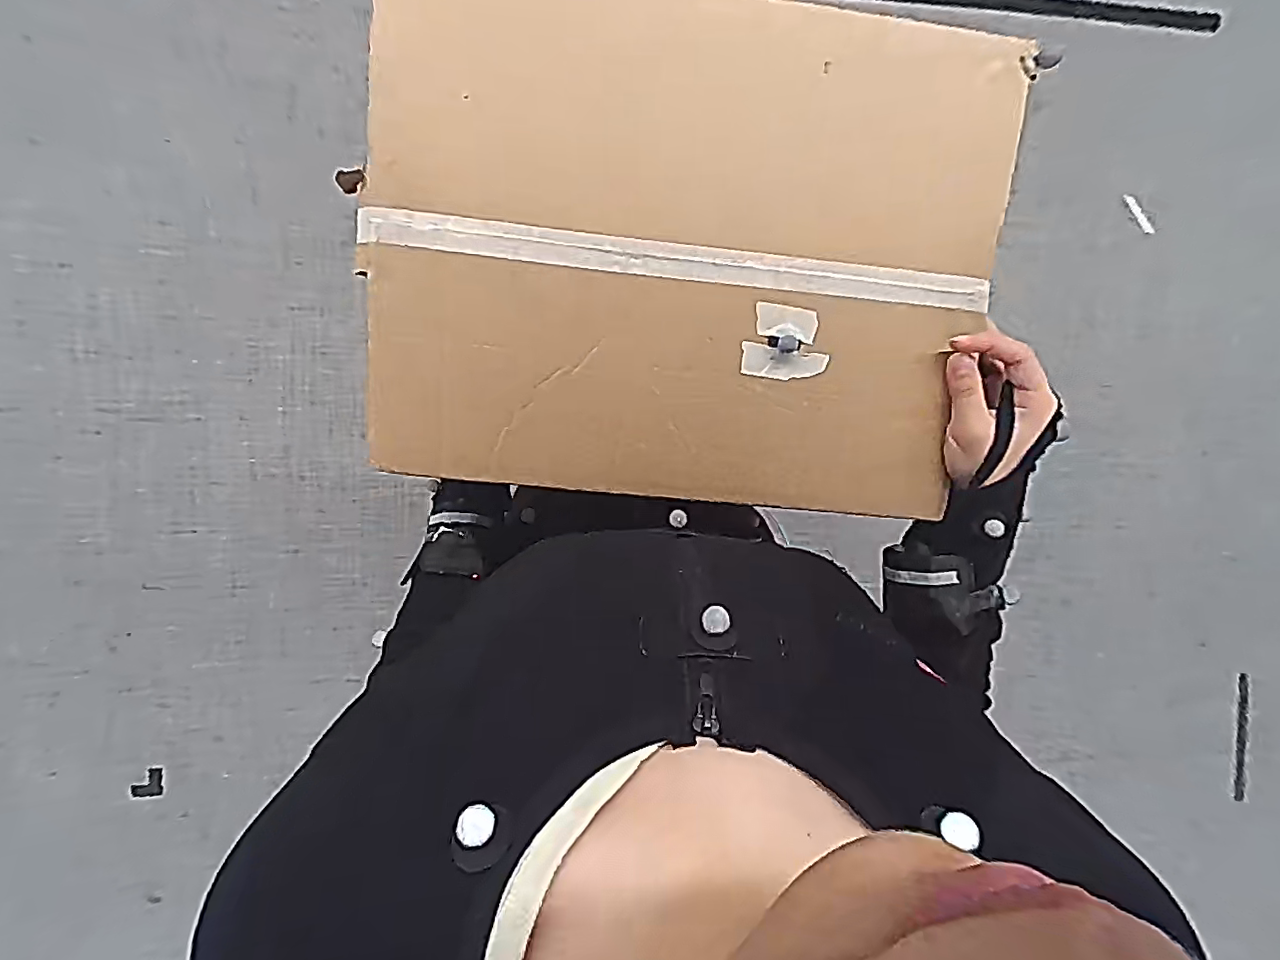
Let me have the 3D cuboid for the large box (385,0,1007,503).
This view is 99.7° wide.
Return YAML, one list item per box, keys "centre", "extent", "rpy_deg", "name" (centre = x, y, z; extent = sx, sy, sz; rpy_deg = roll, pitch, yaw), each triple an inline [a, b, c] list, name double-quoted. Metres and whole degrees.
- centre: [0.021, -0.168, 0.508]
  extent: [0.408, 0.320, 0.320]
  rpy_deg: [4, 100, -5]
  name: "large box"
